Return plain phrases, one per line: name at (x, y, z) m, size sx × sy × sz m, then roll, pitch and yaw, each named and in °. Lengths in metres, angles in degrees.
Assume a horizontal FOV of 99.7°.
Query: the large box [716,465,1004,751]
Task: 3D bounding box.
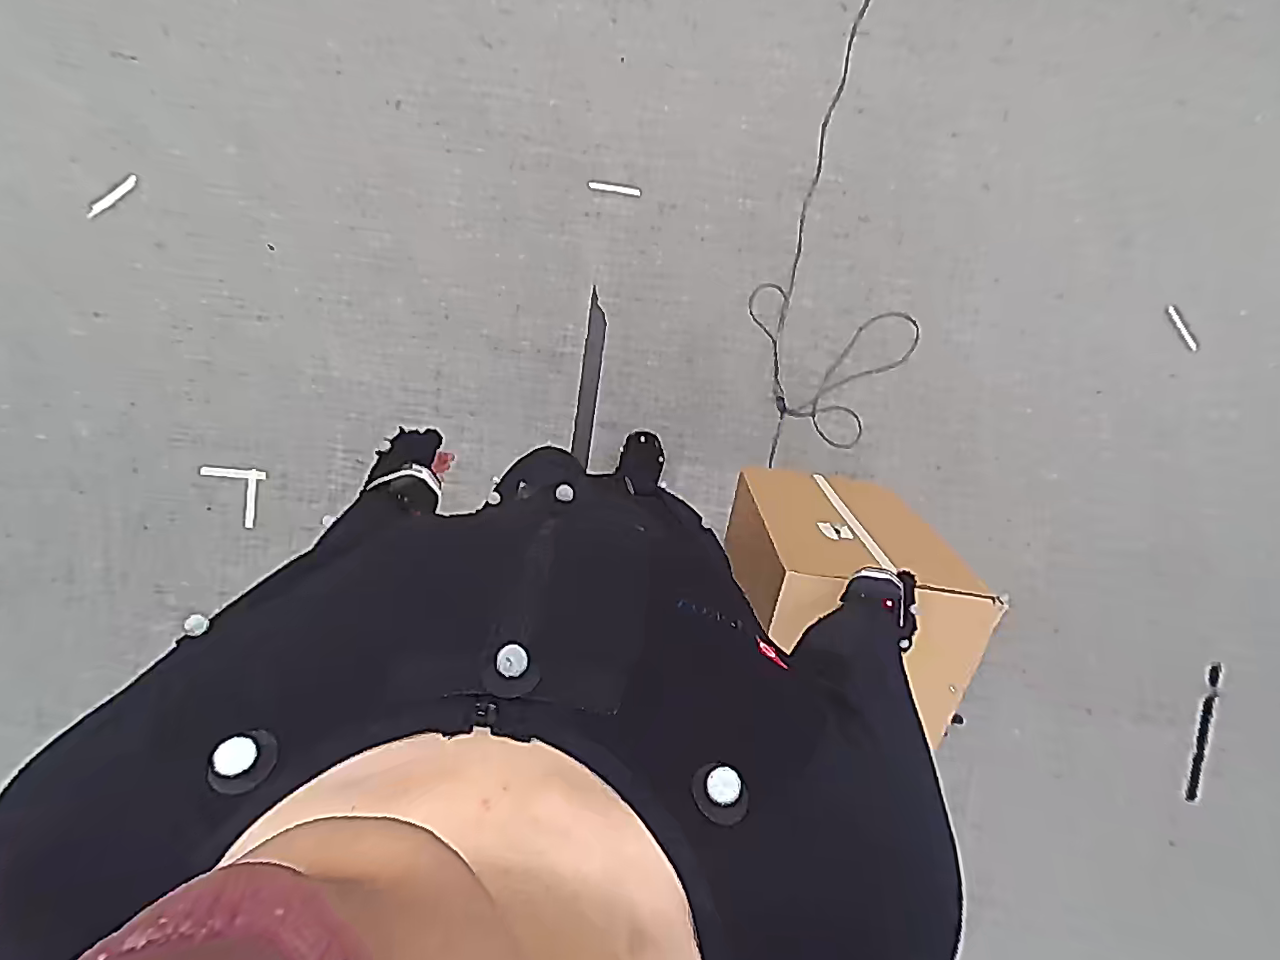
large box at (0.340, 0.205, 0.988) m, size 0.320 × 0.408 × 0.320 m, roll 7°, pitch 113°, yaw -2°
